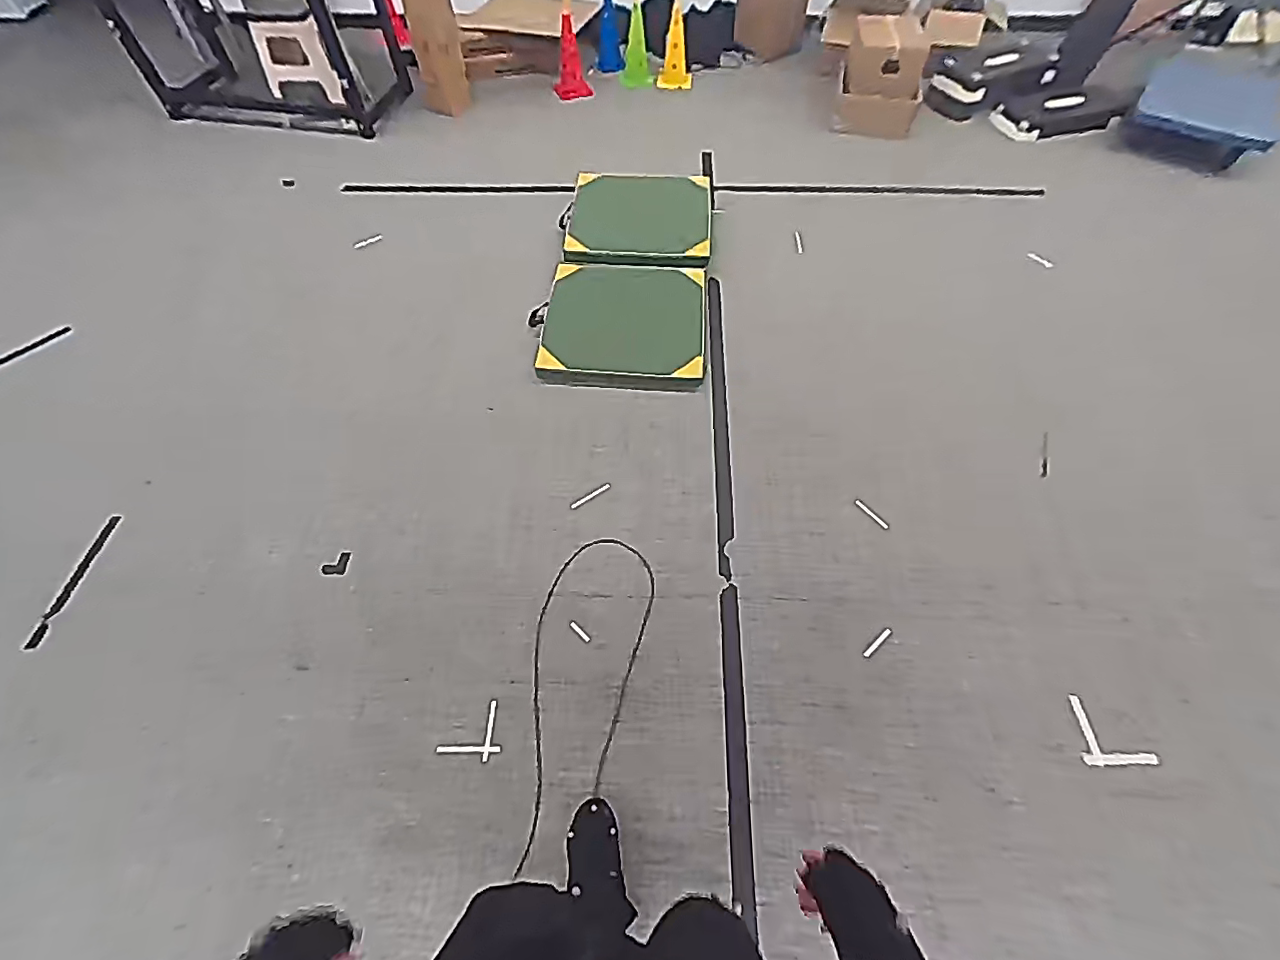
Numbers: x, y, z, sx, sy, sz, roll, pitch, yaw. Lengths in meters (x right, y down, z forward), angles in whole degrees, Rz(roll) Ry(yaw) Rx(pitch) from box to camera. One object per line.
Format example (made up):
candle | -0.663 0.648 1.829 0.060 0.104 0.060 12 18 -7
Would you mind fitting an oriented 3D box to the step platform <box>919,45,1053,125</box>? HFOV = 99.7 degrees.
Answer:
step platform | 1.925 -2.200 3.003 0.684 0.204 0.286 -23 61 -14
